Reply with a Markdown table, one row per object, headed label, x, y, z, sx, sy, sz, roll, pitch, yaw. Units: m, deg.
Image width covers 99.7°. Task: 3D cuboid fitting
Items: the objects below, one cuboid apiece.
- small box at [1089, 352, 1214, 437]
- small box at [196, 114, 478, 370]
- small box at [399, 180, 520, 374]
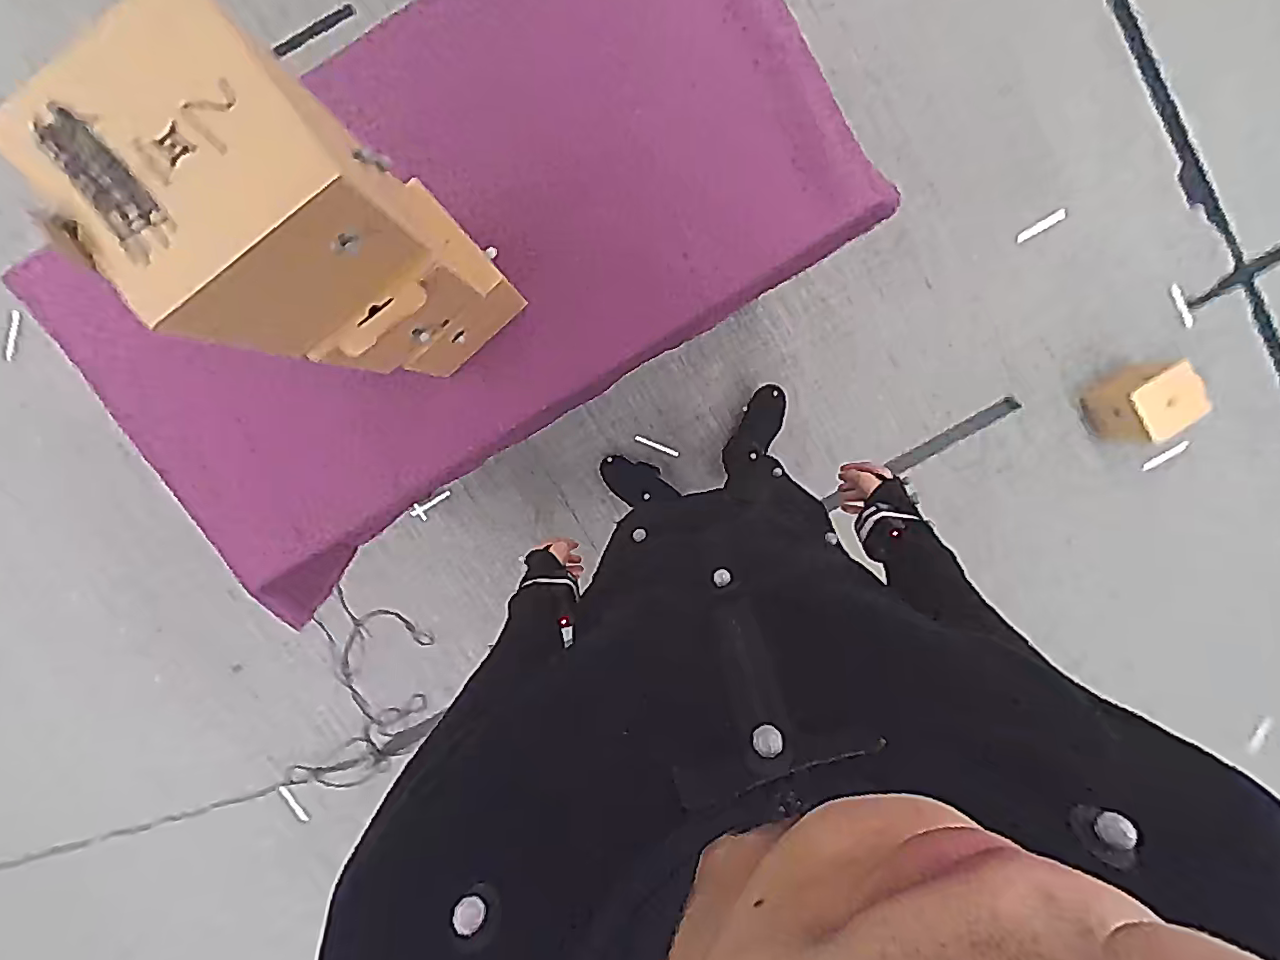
| label | x | y | z | sx | sy | sz | roll | pitch | yaw |
| --- | --- | --- | --- | --- | --- | --- | --- | --- | --- |
| small box | 1.431 | -0.239 | 1.532 | 0.179 | 0.176 | 0.168 | -35 | 97 | 3 |
| small box | -0.313 | -0.240 | 0.600 | 0.168 | 0.176 | 0.179 | -37 | 96 | 4 |
| small box | -0.294 | -0.266 | 0.763 | 0.179 | 0.176 | 0.168 | -42 | 96 | 4 |
